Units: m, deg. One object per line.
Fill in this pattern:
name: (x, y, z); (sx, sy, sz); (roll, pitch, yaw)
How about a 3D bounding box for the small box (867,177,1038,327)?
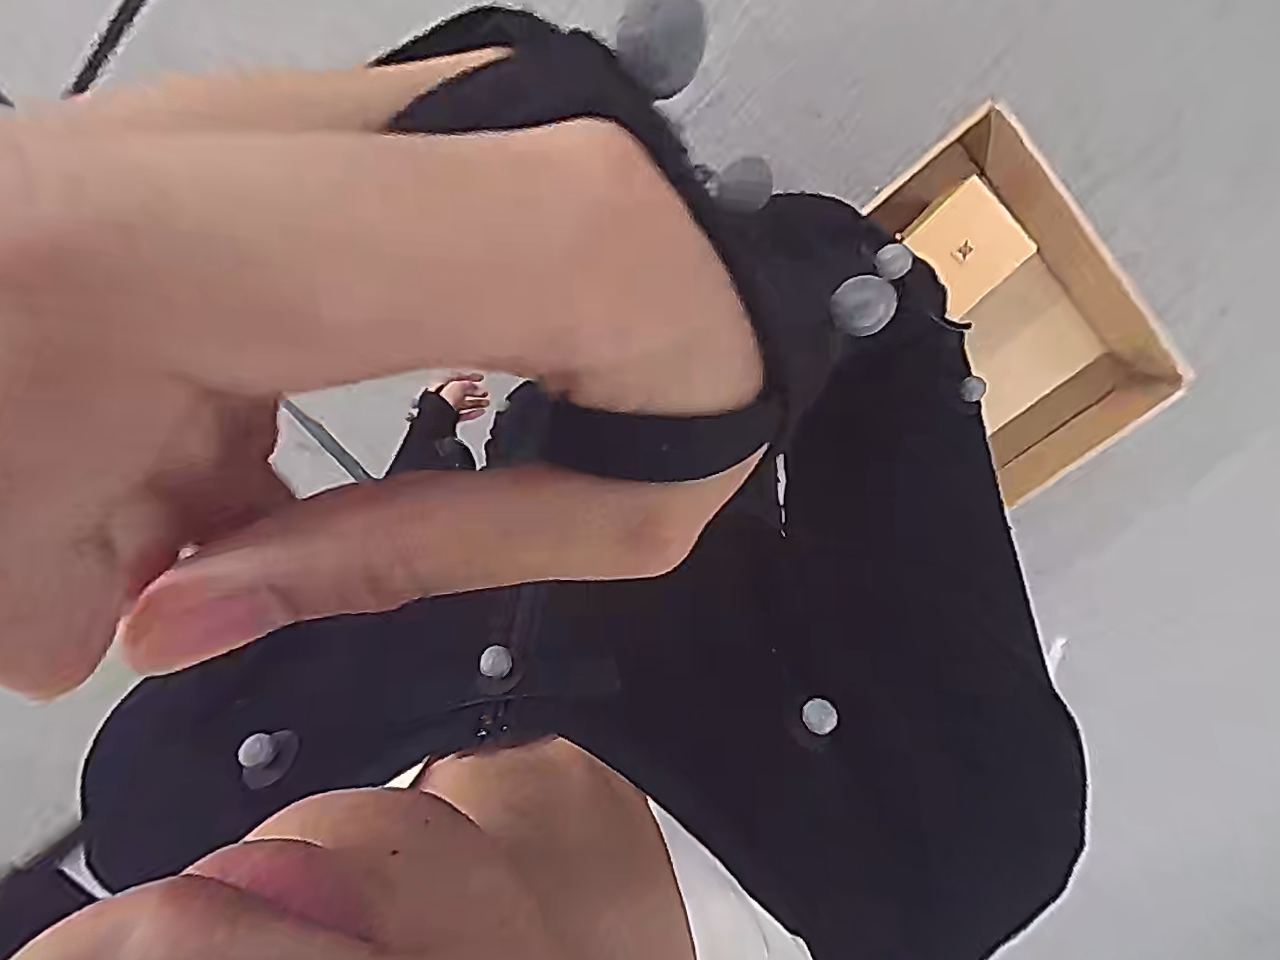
small box: (0.551, -0.400, 0.982); (0.168, 0.176, 0.179); (45, 104, -6)
